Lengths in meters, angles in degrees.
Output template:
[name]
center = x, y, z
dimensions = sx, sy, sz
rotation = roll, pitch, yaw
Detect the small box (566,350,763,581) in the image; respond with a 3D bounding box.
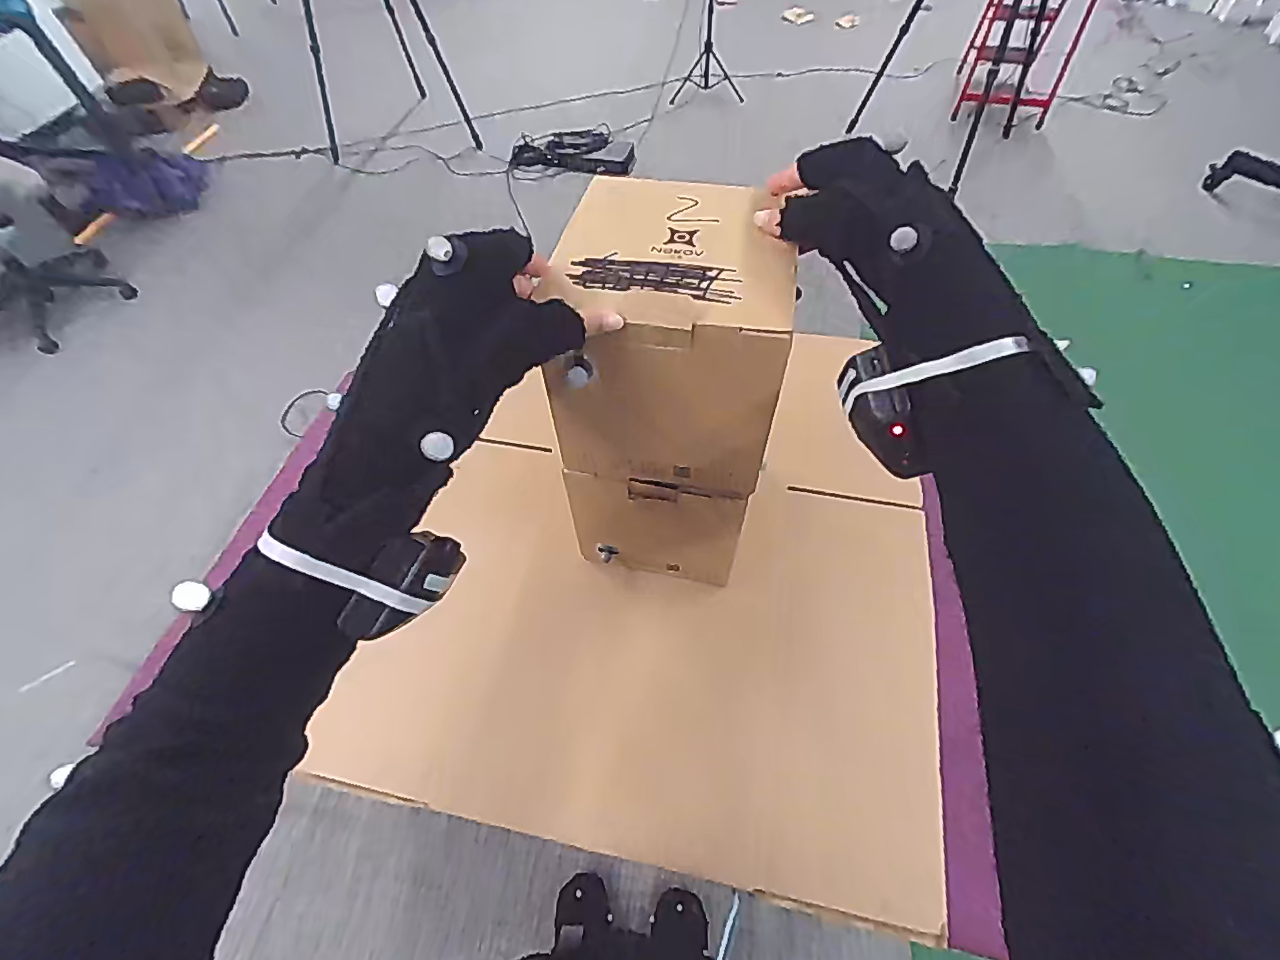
[small box]
center = 0.032, -0.010, 0.572
dimensions = 0.168, 0.176, 0.179
rotation = 7, 56, 7
